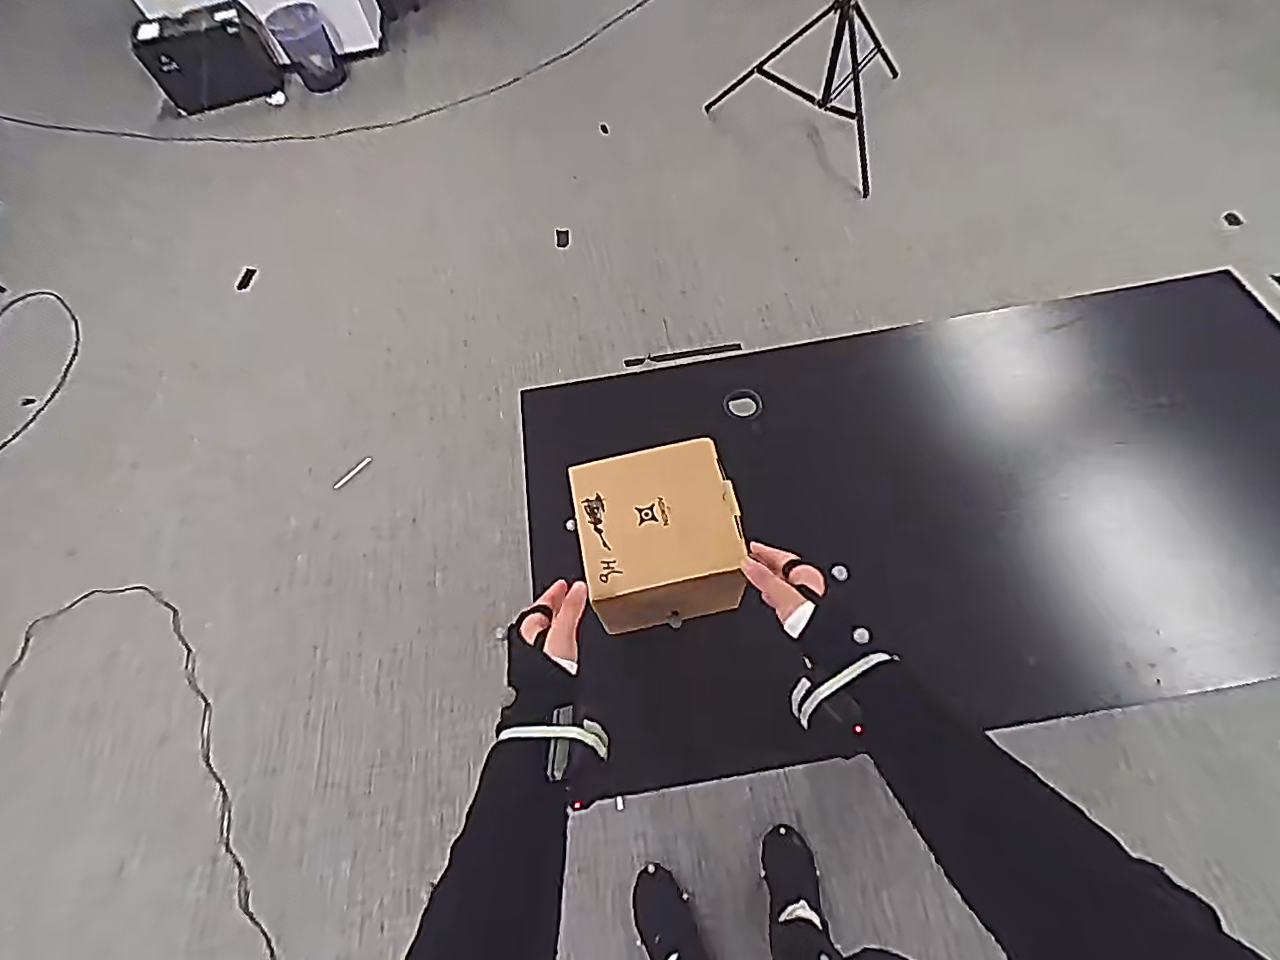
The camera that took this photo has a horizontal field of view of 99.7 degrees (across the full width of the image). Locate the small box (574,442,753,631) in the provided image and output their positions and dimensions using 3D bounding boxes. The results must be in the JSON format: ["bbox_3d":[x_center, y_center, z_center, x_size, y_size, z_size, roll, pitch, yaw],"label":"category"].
[{"bbox_3d":[0.024,0.077,0.673,0.179,0.176,0.168,-11,62,-2],"label":"small box"}]
